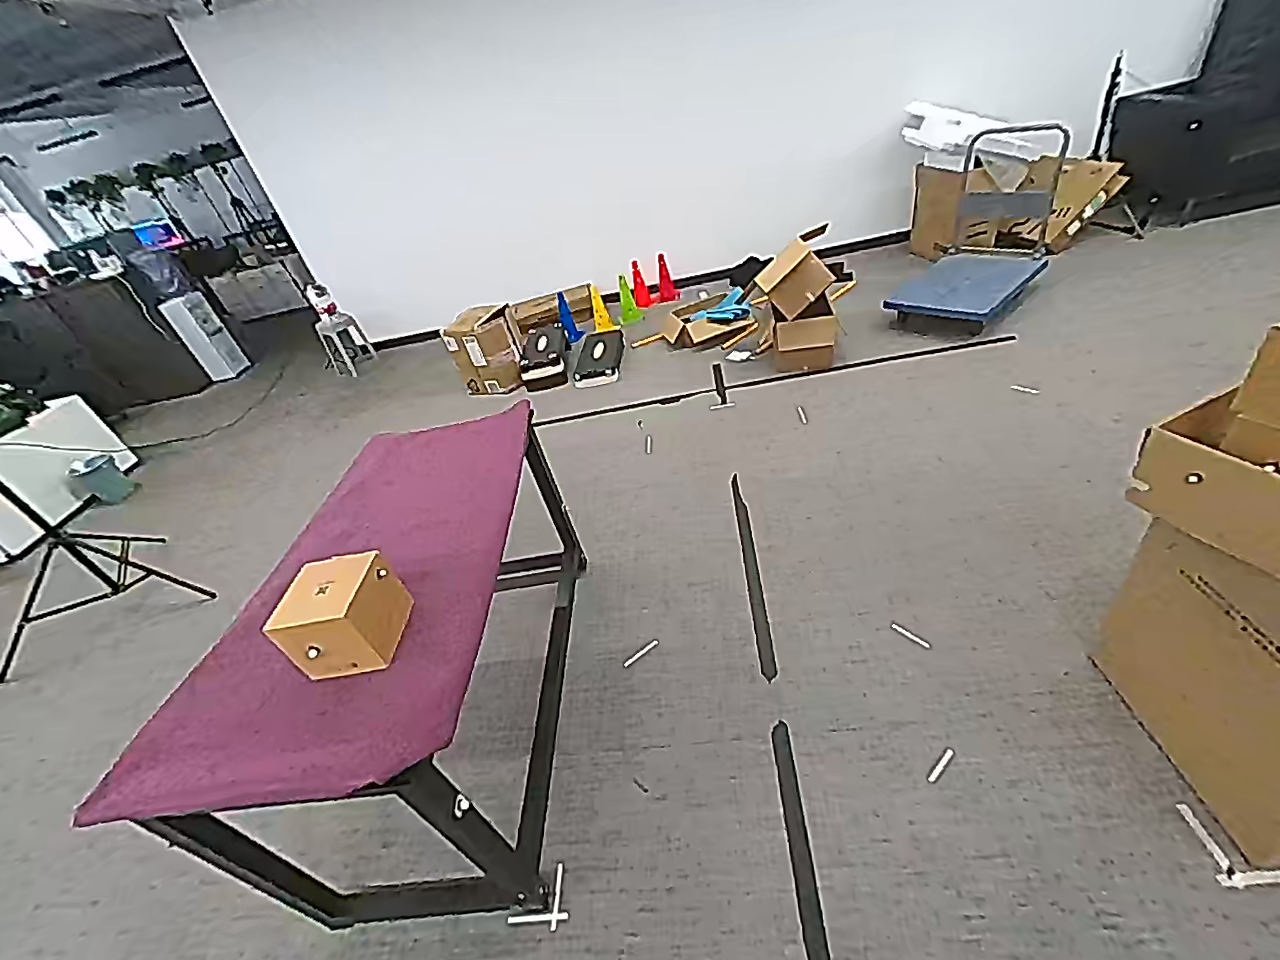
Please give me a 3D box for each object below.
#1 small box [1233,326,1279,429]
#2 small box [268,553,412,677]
[{"bbox_3d":[1.180,-0.173,0.902,0.168,0.176,0.179,-20,35,-5],"label":"small box"},{"bbox_3d":[-0.592,0.279,1.097,0.168,0.176,0.179,-11,35,5],"label":"small box"}]
